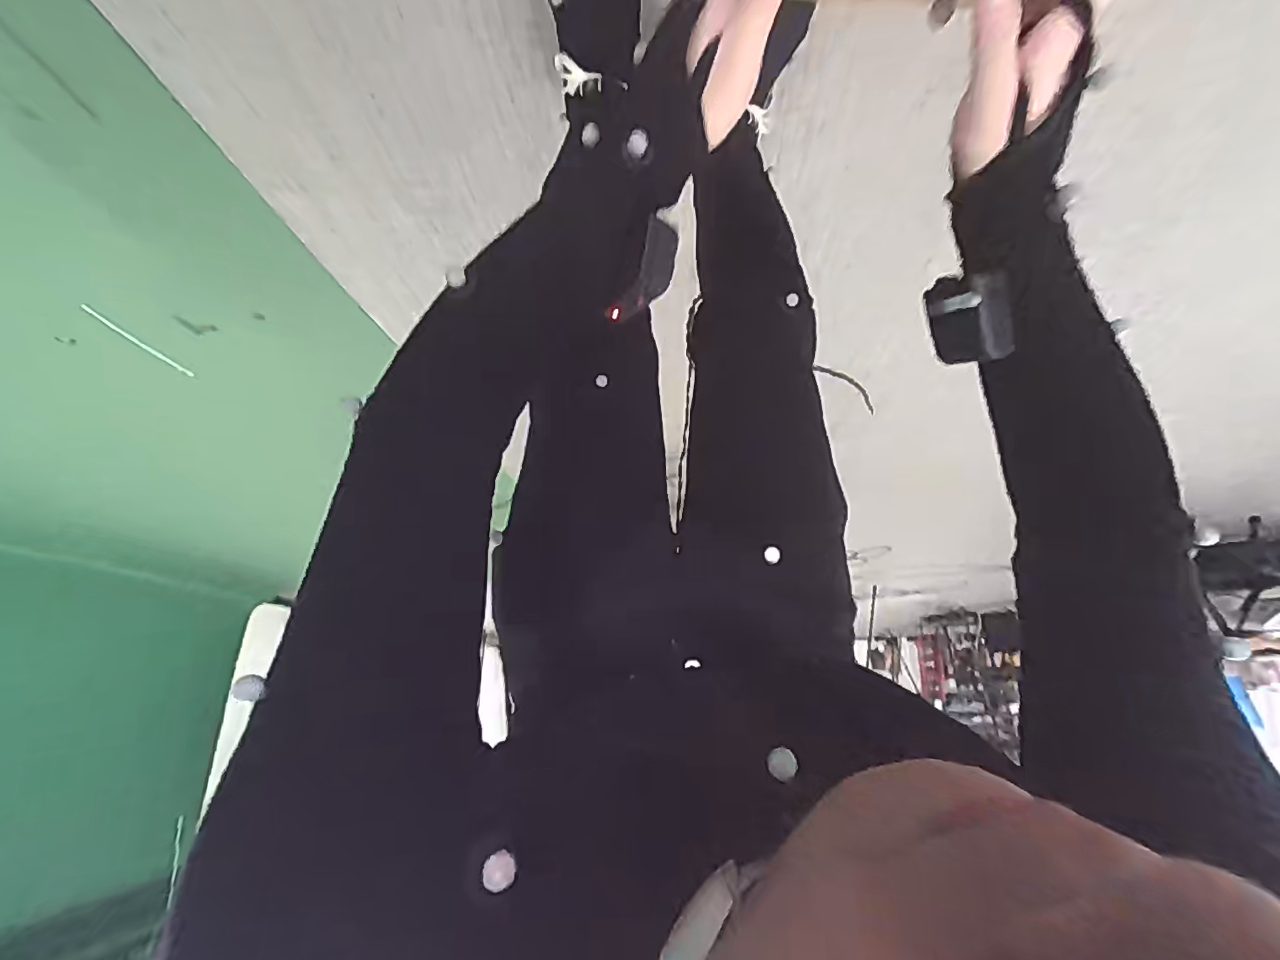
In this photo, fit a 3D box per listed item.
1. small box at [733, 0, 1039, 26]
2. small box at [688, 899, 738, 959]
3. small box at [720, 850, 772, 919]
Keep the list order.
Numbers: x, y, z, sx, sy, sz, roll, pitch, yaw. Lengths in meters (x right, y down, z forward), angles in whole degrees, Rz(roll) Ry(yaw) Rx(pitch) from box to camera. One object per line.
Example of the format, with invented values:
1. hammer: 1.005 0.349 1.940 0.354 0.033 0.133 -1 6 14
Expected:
1. small box: 0.153 -0.391 0.322 0.179 0.176 0.168 6 126 -3
2. small box: 0.264 1.656 1.967 0.168 0.176 0.179 -3 159 5
3. small box: 0.390 1.498 2.014 0.179 0.176 0.168 -2 159 7
